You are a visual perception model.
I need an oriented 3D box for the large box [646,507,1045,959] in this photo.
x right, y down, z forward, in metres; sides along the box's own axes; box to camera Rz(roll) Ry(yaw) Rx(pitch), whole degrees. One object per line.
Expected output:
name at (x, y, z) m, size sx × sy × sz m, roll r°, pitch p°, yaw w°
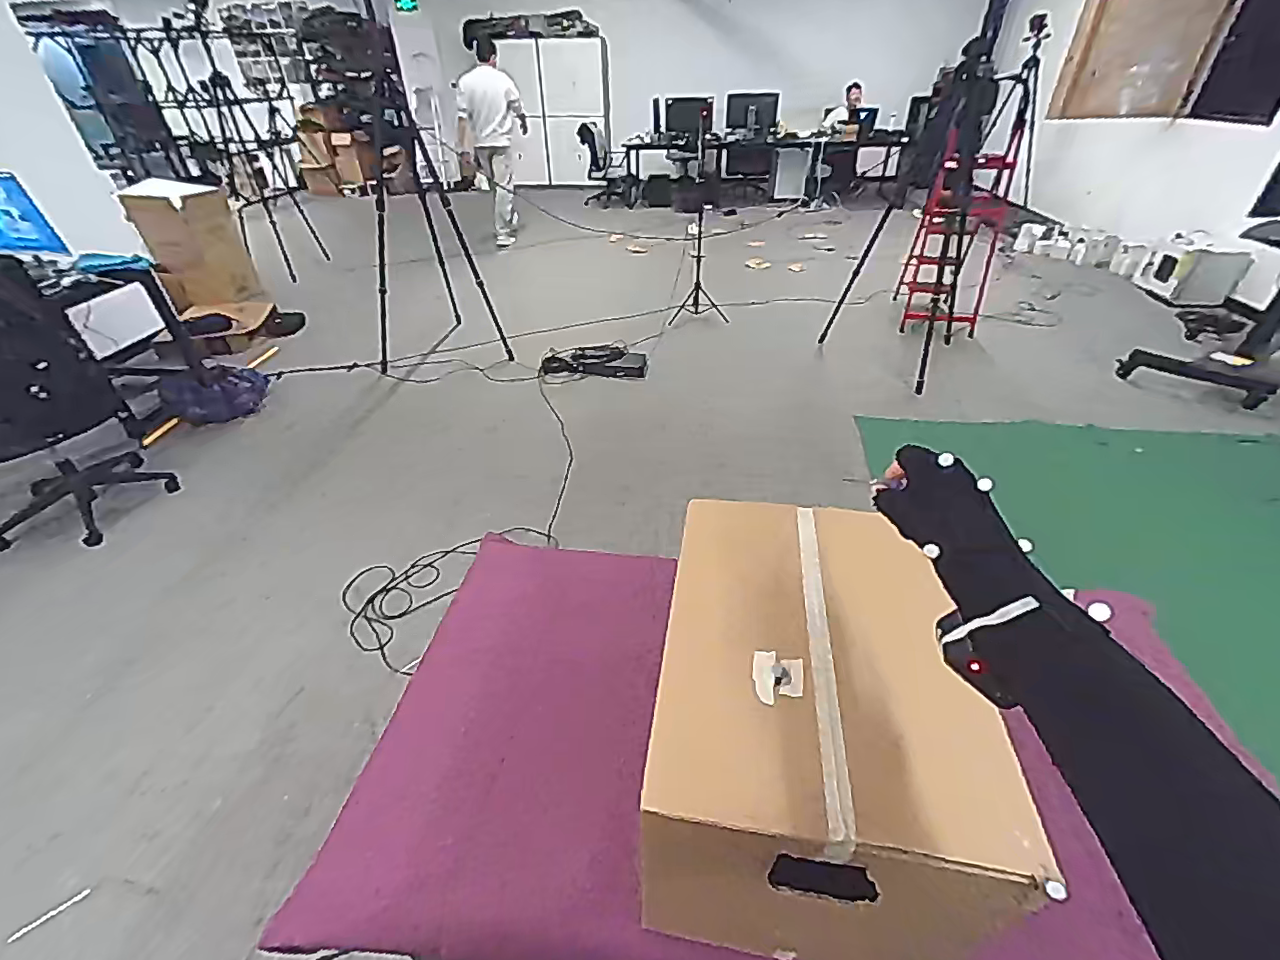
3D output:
large box at (0.187, 0.288, 0.671) m, size 0.320 × 0.320 × 0.408 m, roll 5°, pitch 38°, yaw 8°
